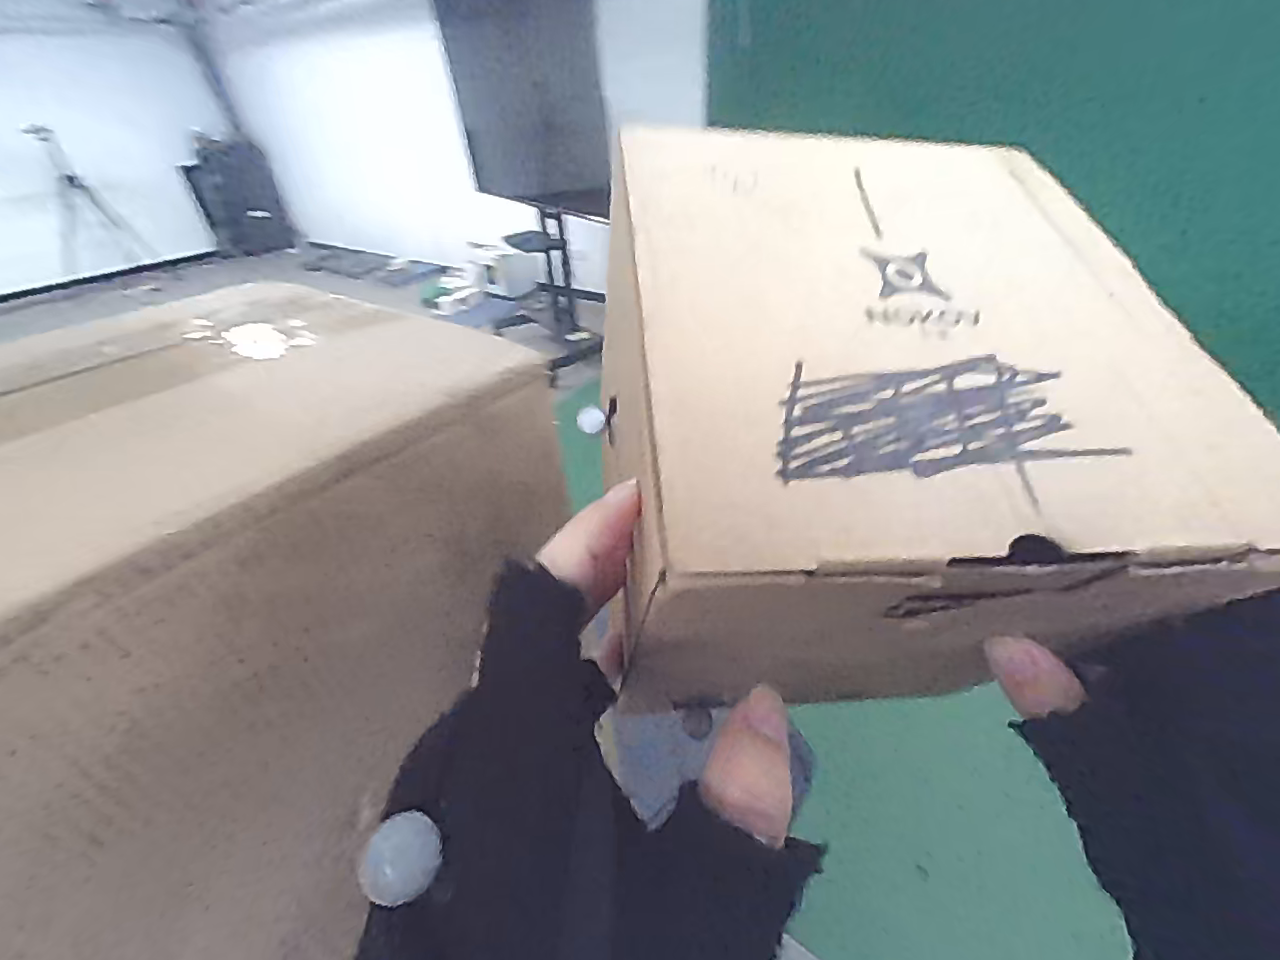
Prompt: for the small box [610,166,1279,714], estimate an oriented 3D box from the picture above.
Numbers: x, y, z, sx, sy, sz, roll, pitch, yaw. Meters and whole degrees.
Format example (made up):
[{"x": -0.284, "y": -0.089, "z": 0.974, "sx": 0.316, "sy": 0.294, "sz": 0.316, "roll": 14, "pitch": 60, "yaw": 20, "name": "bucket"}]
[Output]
[{"x": 0.072, "y": -0.004, "z": 0.232, "sx": 0.168, "sy": 0.176, "sz": 0.179, "roll": -1, "pitch": 57, "yaw": -5, "name": "small box"}]
